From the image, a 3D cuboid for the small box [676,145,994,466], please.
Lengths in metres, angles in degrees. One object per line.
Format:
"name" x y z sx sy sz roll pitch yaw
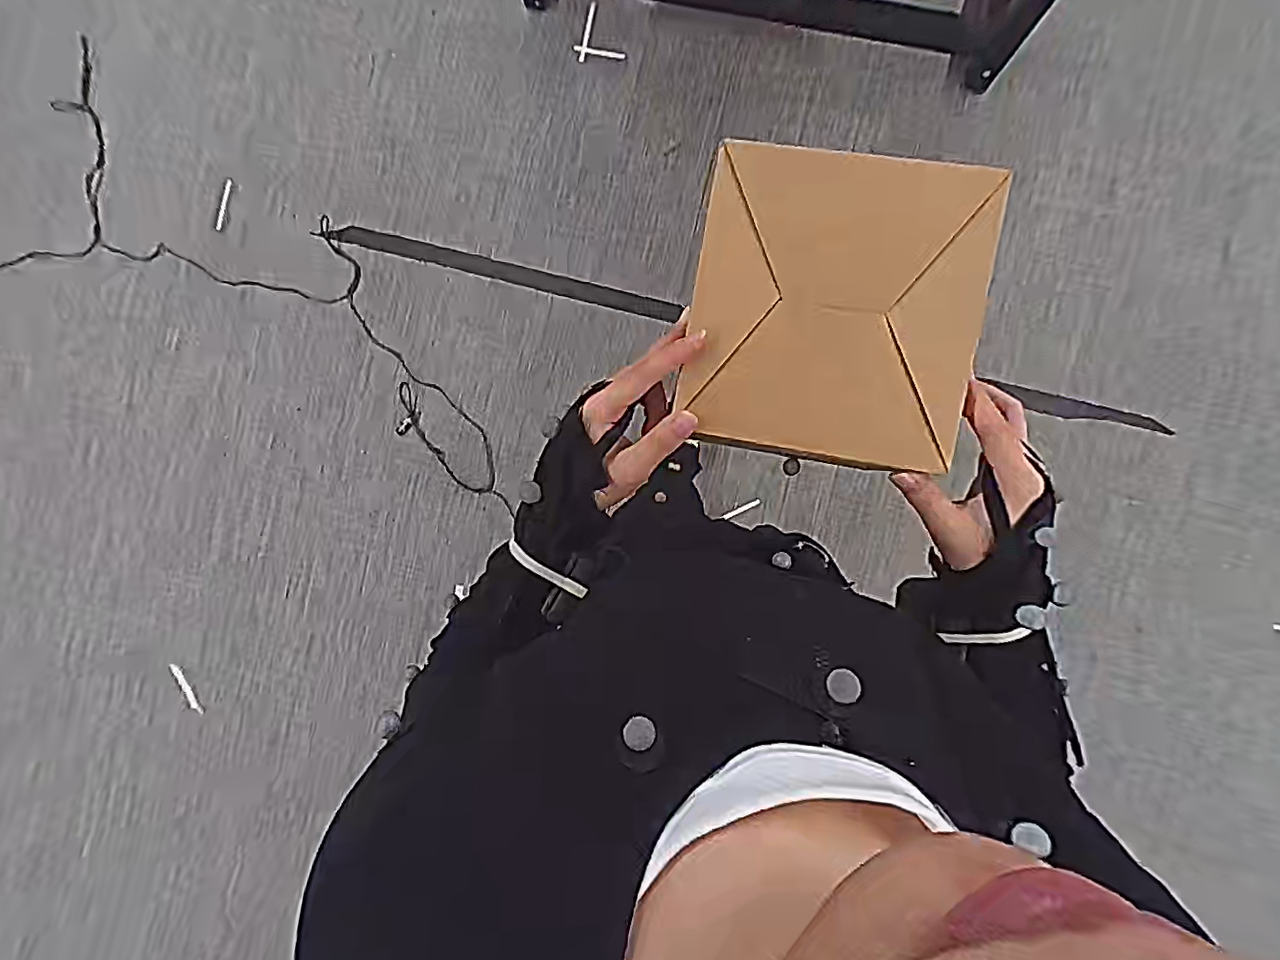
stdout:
"small box" 0.123 -0.109 0.402 0.168 0.176 0.179 11 94 6
